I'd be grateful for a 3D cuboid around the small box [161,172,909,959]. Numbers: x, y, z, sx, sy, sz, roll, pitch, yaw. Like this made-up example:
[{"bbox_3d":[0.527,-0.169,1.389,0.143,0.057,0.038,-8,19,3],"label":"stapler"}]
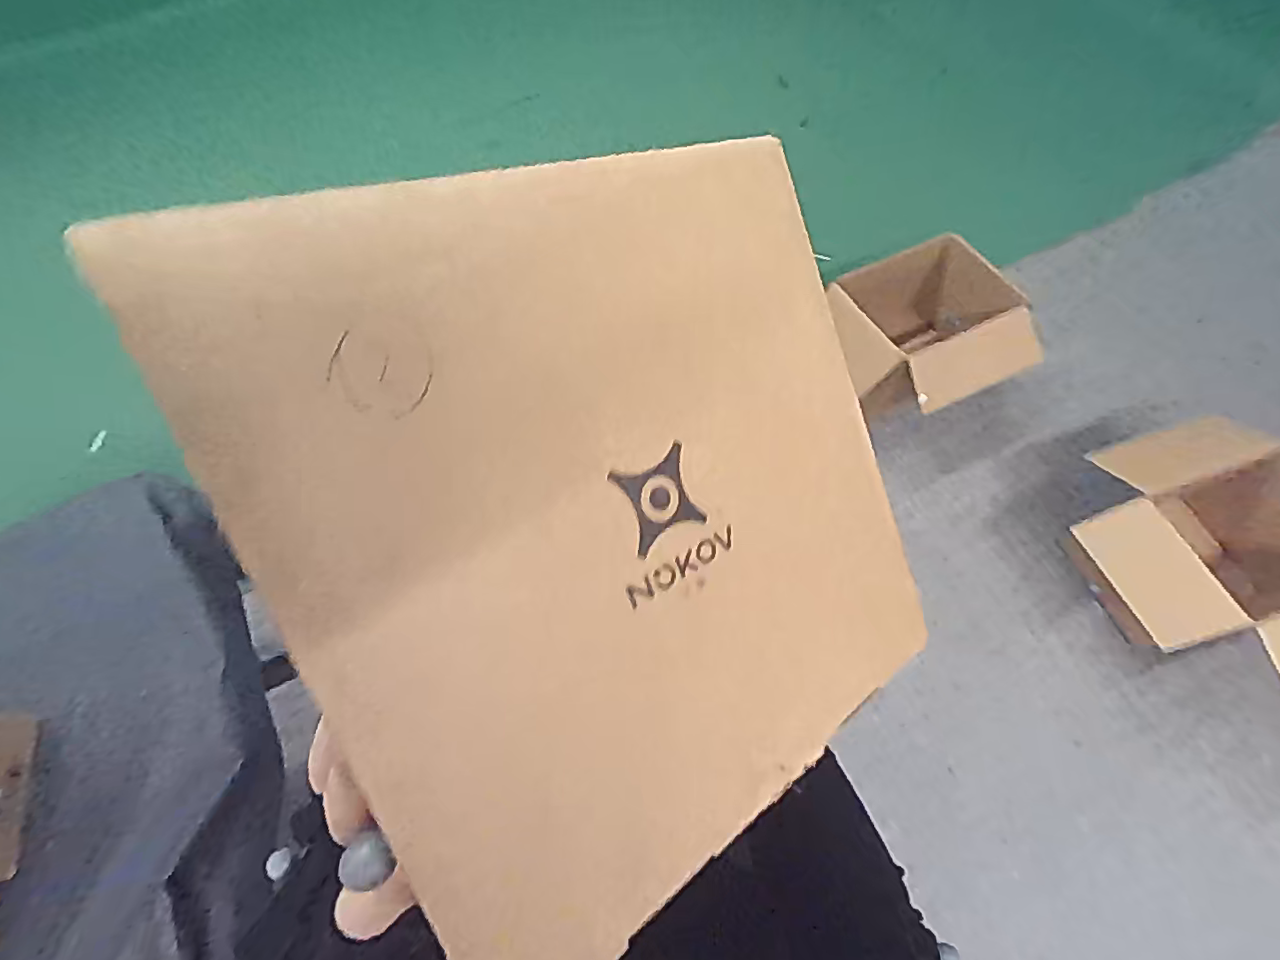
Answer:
[{"bbox_3d":[-0.034,0.015,0.216,0.168,0.176,0.179,-26,103,-28],"label":"small box"}]
